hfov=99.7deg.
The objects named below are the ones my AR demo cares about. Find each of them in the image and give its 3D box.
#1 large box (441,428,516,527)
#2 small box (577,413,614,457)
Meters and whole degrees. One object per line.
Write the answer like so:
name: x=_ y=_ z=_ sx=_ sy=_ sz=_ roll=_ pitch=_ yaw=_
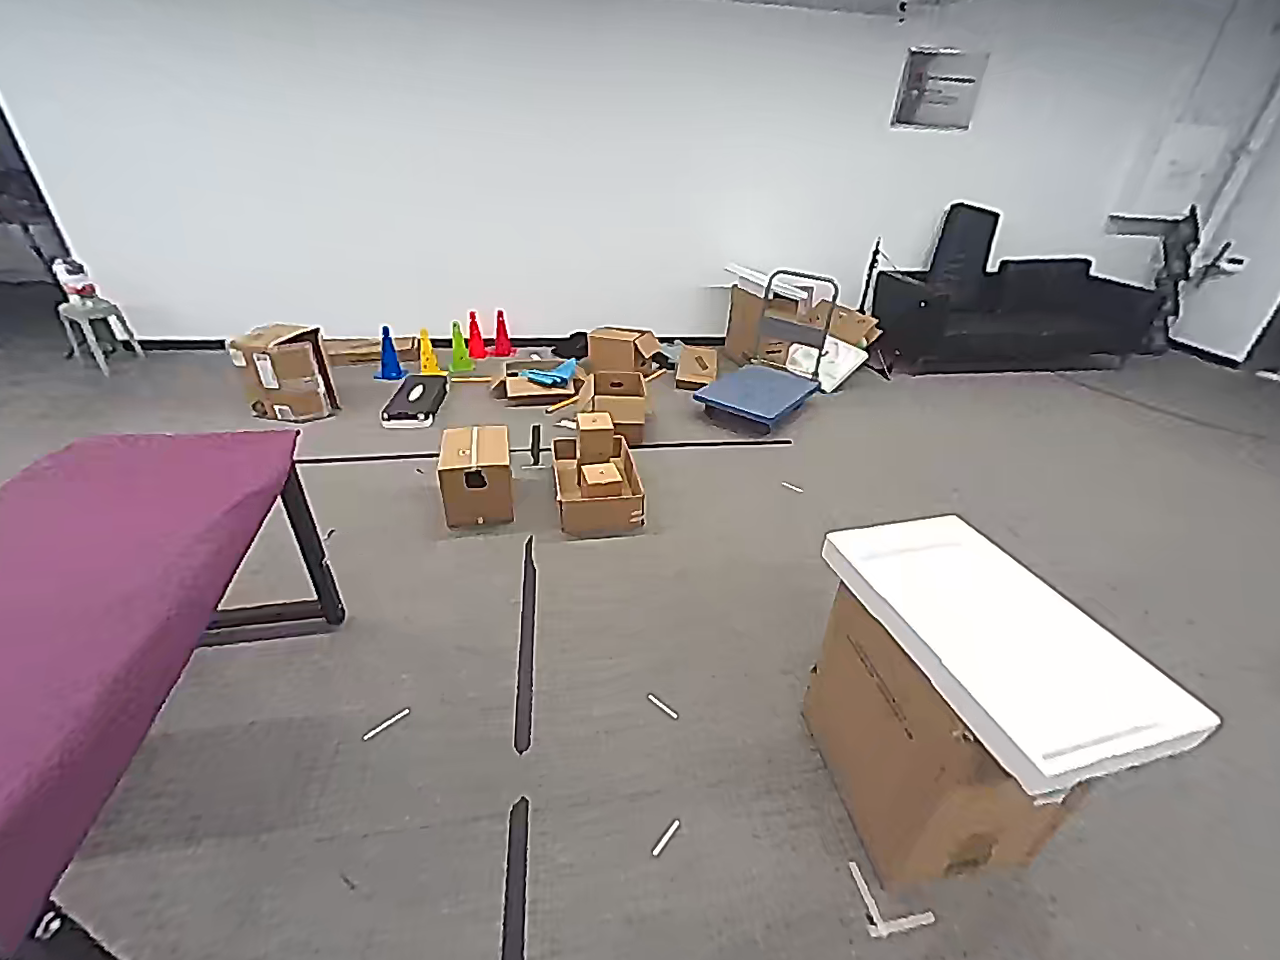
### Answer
large box: x=-0.777 y=-0.022 z=2.632 sx=0.320 sy=0.320 sz=0.408 roll=-6 pitch=34 yaw=-12
small box: x=-0.227 y=-0.227 z=2.738 sx=0.168 sy=0.176 sz=0.179 roll=-3 pitch=34 yaw=-12
